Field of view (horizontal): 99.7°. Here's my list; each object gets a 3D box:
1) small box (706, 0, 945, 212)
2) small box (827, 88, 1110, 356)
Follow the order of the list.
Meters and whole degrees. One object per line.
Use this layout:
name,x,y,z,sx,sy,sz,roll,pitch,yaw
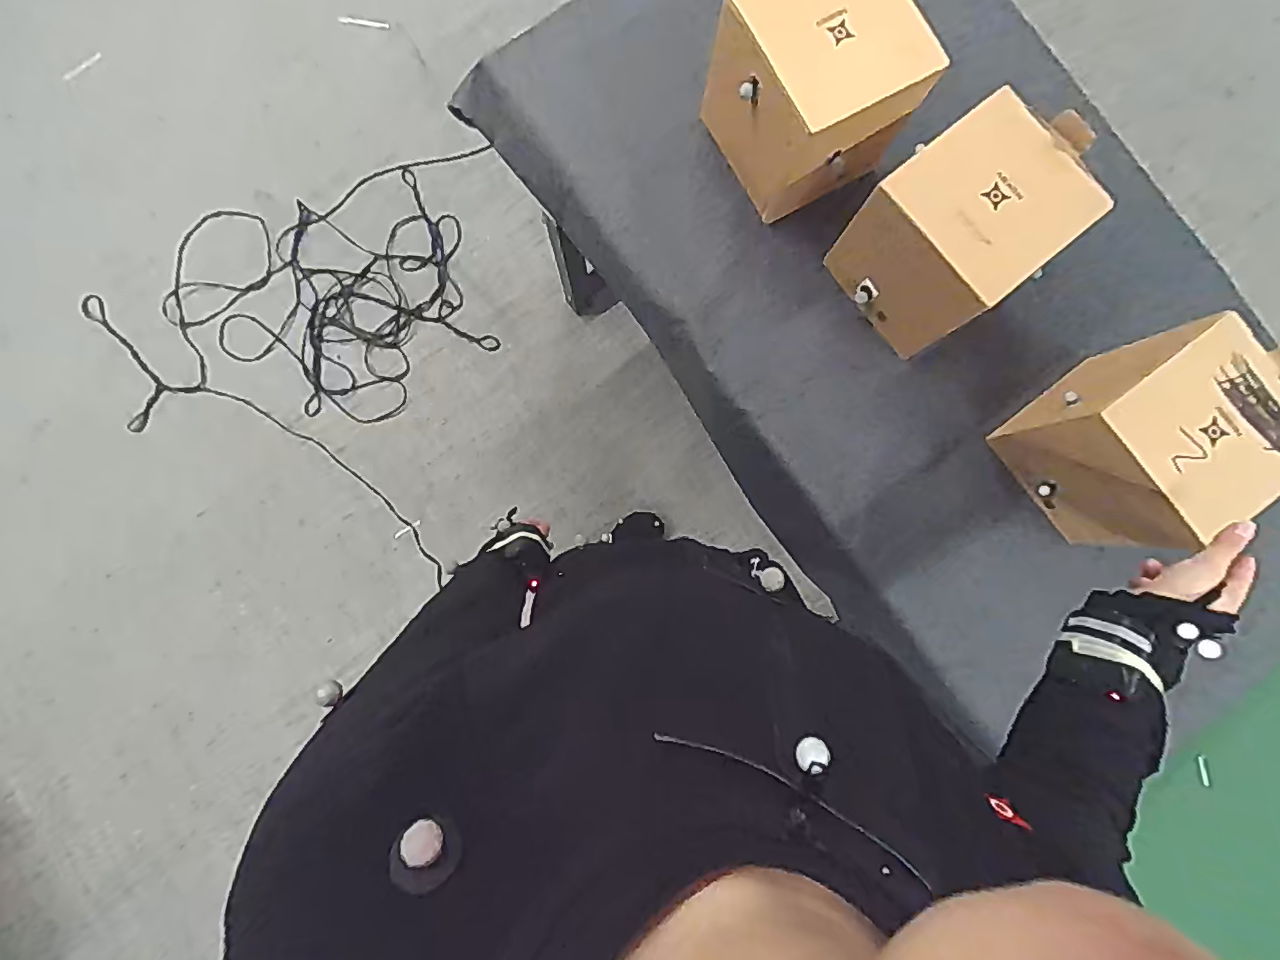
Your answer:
small box,0.195,-0.444,0.622,0.168,0.176,0.179,-29,86,-5
small box,0.349,-0.274,0.612,0.179,0.176,0.168,-40,86,-5
